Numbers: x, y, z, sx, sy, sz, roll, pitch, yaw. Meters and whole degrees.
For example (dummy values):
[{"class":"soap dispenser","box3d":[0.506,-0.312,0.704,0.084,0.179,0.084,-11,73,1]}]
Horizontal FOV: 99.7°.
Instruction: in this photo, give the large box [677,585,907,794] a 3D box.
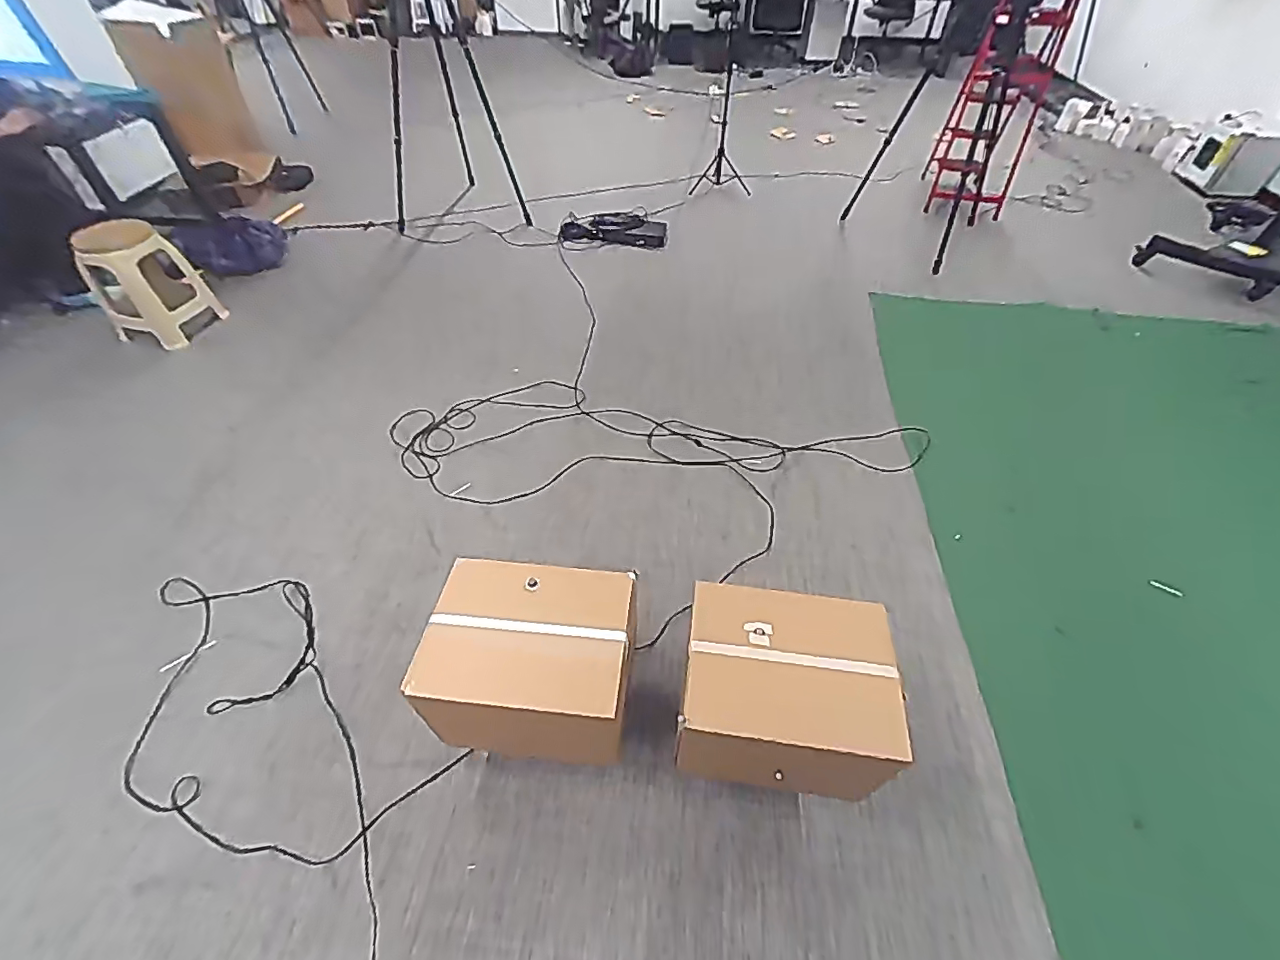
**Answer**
[{"class":"large box","box3d":[0.301,0.461,1.185,0.408,0.320,0.320,6,48,6]}]
